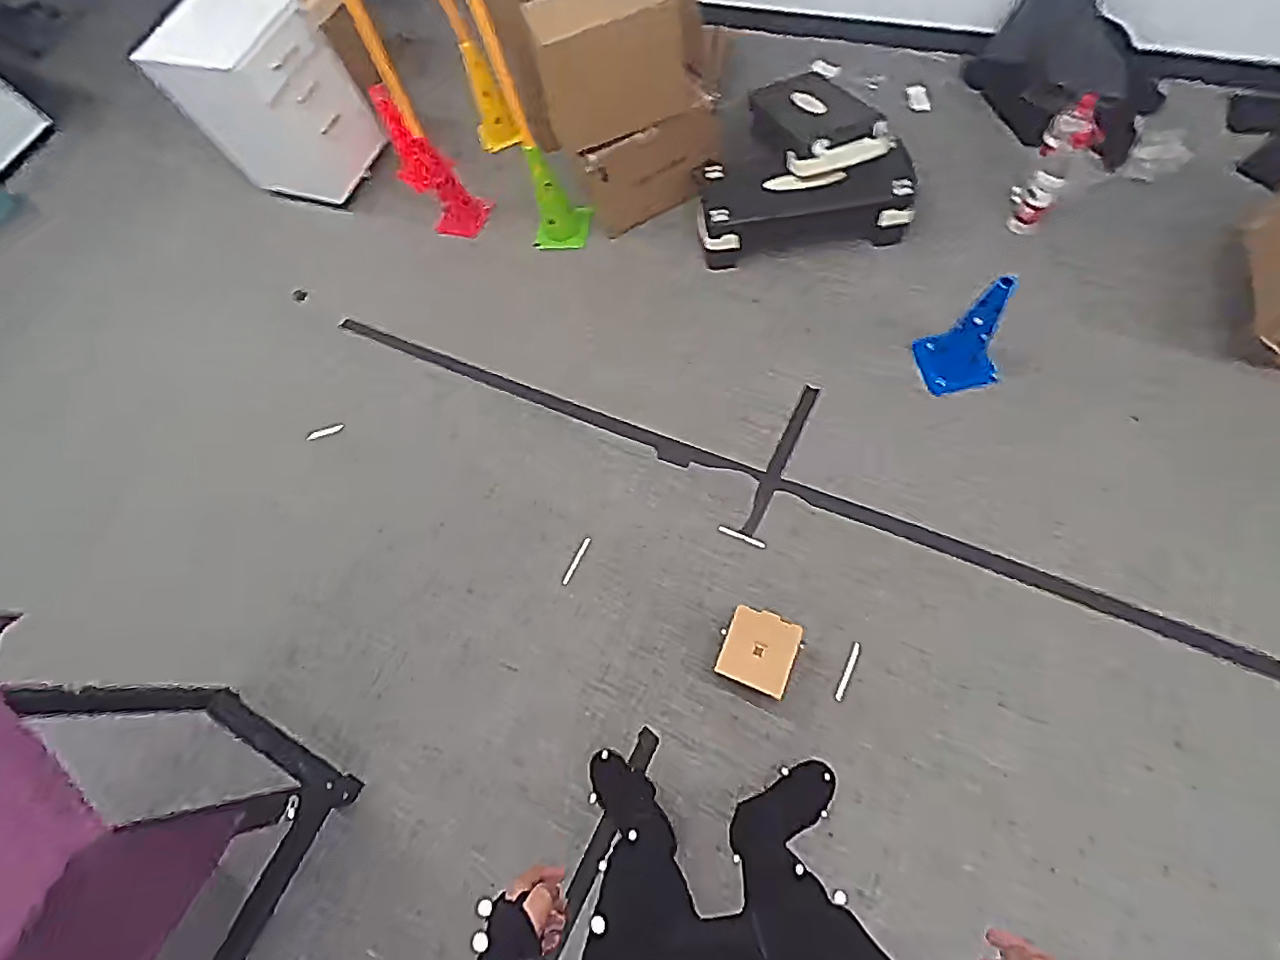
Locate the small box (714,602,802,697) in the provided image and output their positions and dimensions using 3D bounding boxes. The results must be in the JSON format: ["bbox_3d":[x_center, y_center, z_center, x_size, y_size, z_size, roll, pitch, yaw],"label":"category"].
[{"bbox_3d":[0.298,0.430,1.366,0.168,0.176,0.179,19,74,16],"label":"small box"}]
